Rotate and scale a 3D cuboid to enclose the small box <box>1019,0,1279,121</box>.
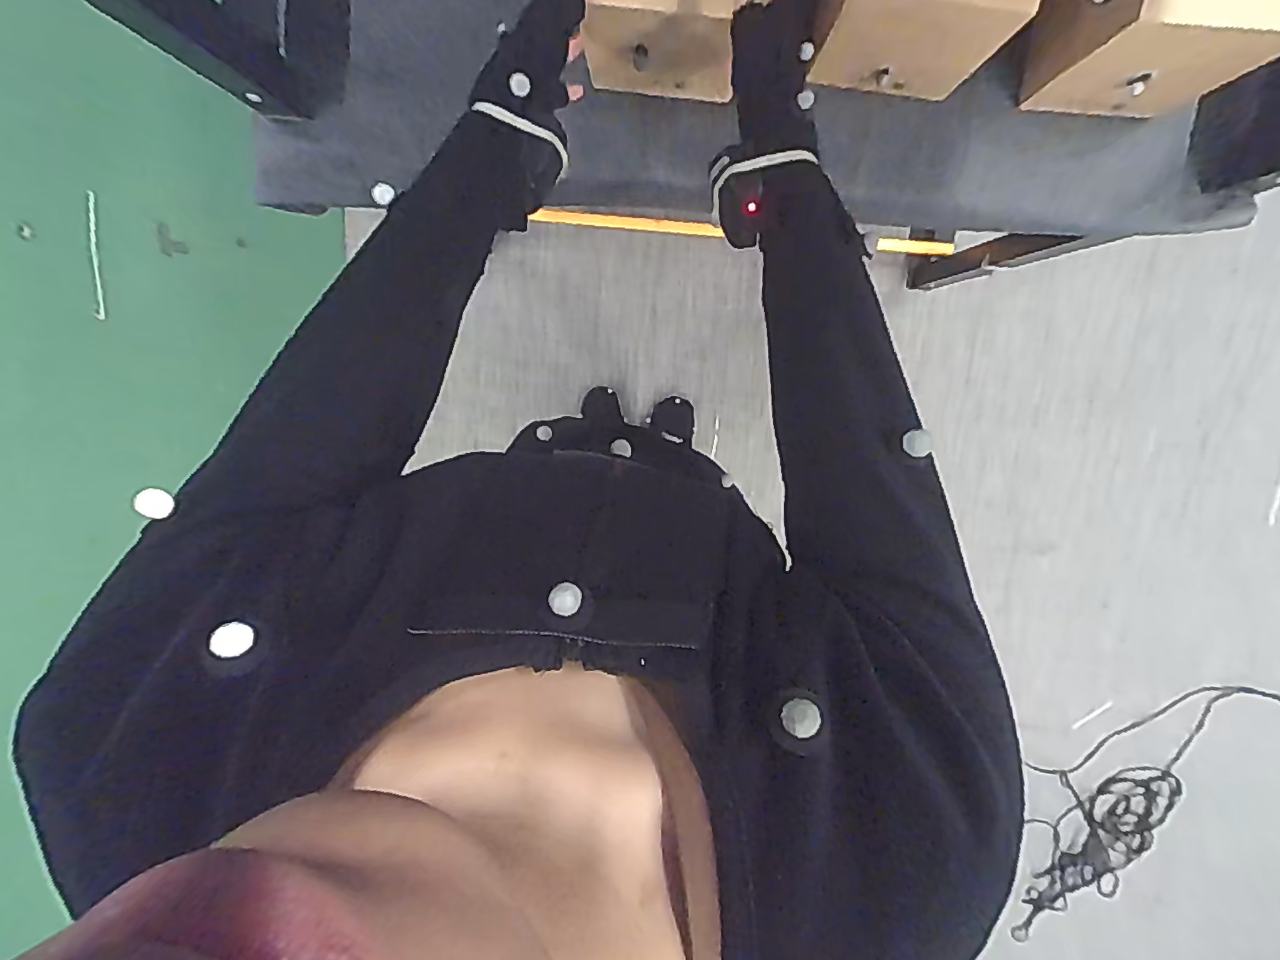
[{"bbox_3d":[0.528,-0.496,0.548,0.168,0.176,0.179,4,101,0],"label":"small box"}]

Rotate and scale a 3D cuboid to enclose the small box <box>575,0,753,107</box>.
[{"bbox_3d":[0.033,-0.521,0.557,0.168,0.176,0.179,6,102,0],"label":"small box"}]
